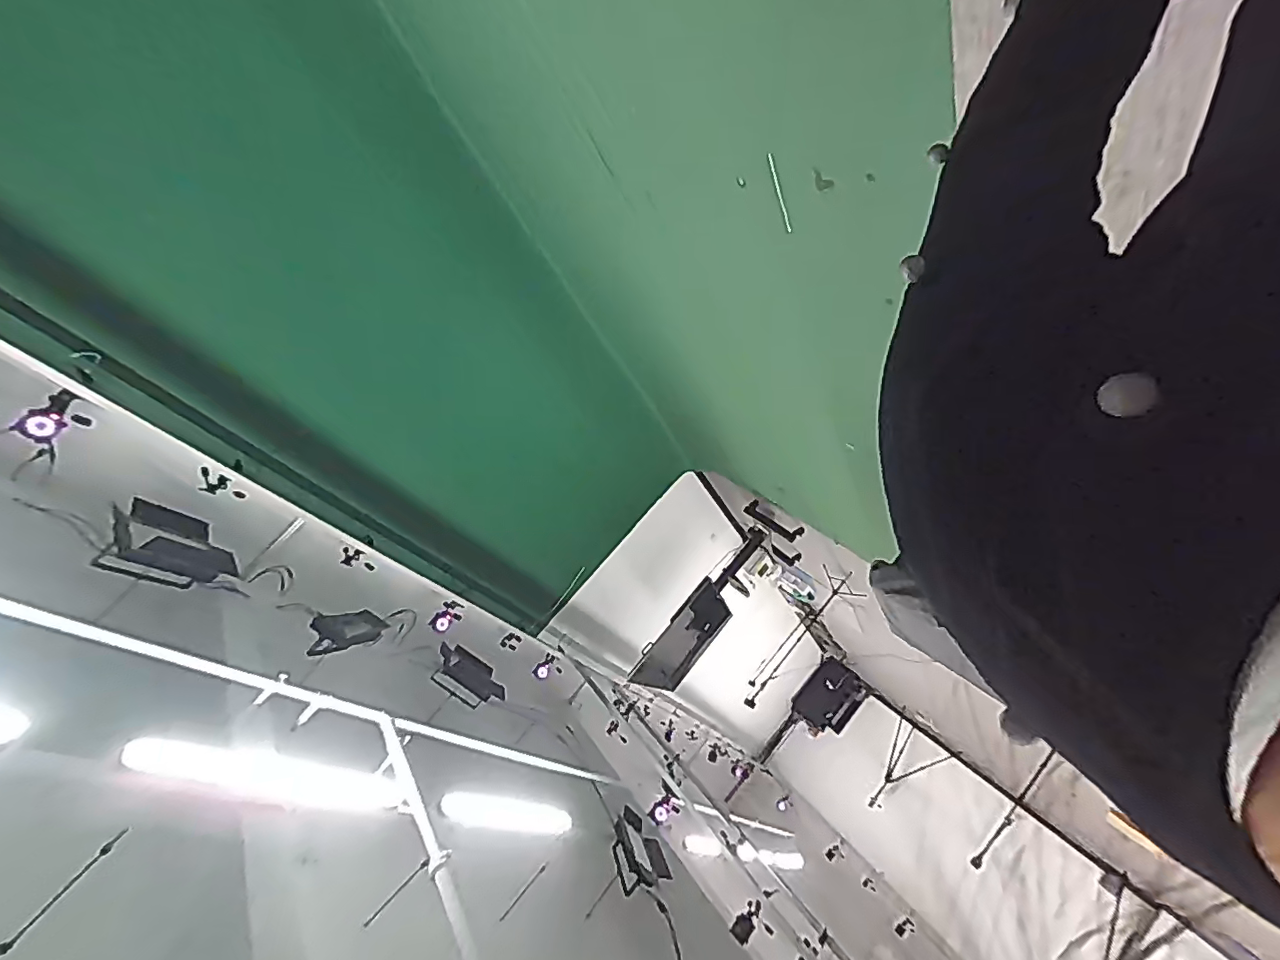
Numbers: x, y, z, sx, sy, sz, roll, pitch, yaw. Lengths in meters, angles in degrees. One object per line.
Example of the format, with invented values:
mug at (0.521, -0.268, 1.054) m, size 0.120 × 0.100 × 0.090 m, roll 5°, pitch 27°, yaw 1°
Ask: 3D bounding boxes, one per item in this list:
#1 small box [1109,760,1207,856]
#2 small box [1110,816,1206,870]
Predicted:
small box at (1.636, 1.032, 1.706) m, size 0.168 × 0.176 × 0.179 m, roll 48°, pitch 172°, yaw -33°
small box at (1.785, 1.199, 1.870) m, size 0.179 × 0.176 × 0.168 m, roll 35°, pitch 169°, yaw 46°
